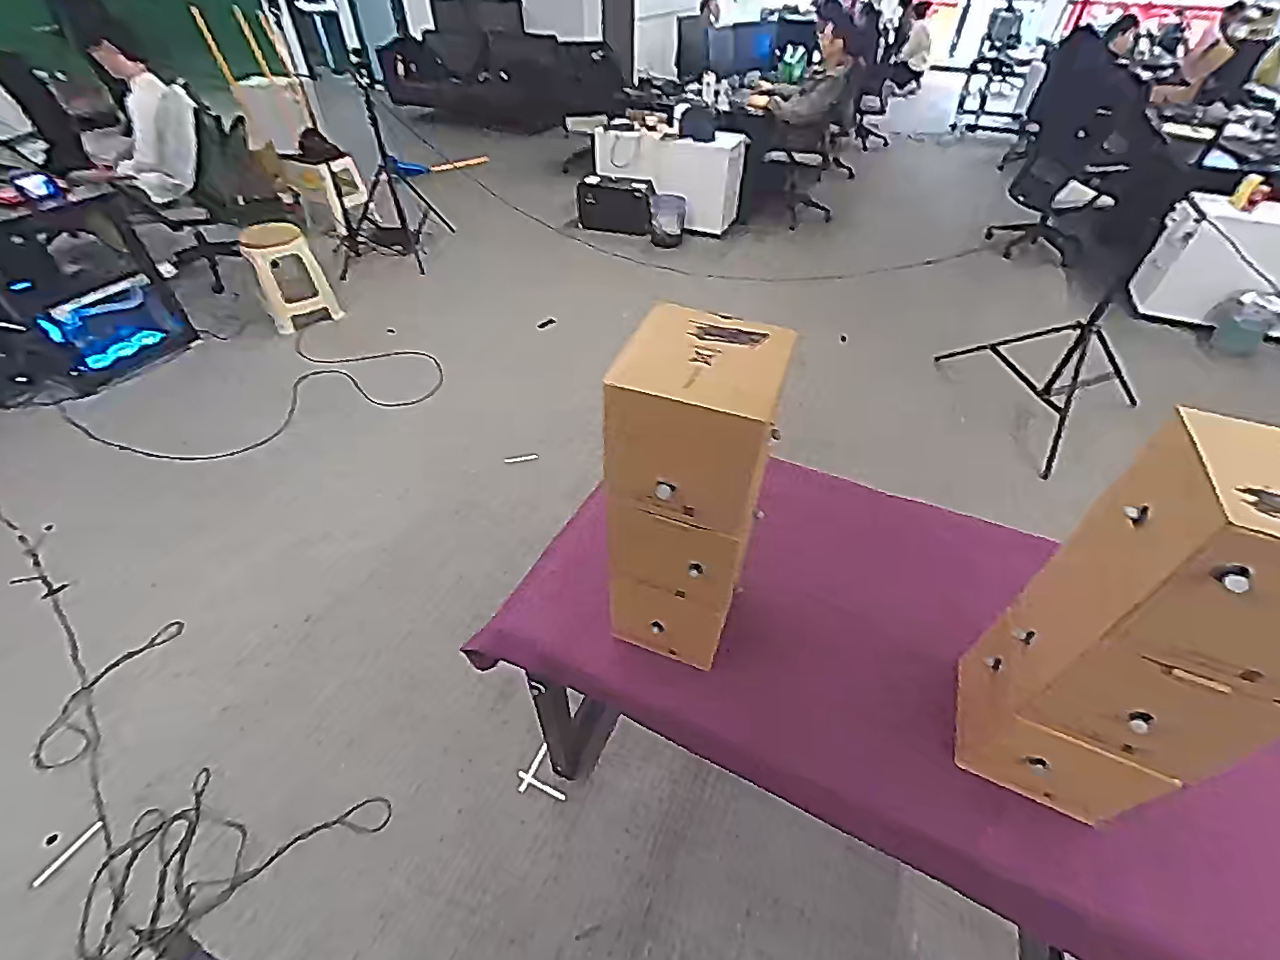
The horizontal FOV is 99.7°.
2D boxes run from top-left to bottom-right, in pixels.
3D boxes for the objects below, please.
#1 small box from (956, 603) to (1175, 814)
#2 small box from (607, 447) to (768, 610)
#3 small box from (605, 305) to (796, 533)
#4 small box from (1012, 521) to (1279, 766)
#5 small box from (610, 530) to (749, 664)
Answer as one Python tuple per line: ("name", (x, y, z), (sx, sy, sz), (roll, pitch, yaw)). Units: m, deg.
("small box", (0.543, 0.304, 0.719), (0.168, 0.176, 0.179), (19, 46, 17))
("small box", (0.064, 0.047, 0.733), (0.168, 0.176, 0.179), (16, 45, 13))
("small box", (0.066, -0.071, 0.618), (0.168, 0.176, 0.179), (15, 47, 13))
("small box", (0.548, 0.183, 0.608), (0.168, 0.176, 0.179), (19, 47, 18))
("small box", (0.062, 0.158, 0.851), (0.168, 0.176, 0.179), (16, 45, 14))
